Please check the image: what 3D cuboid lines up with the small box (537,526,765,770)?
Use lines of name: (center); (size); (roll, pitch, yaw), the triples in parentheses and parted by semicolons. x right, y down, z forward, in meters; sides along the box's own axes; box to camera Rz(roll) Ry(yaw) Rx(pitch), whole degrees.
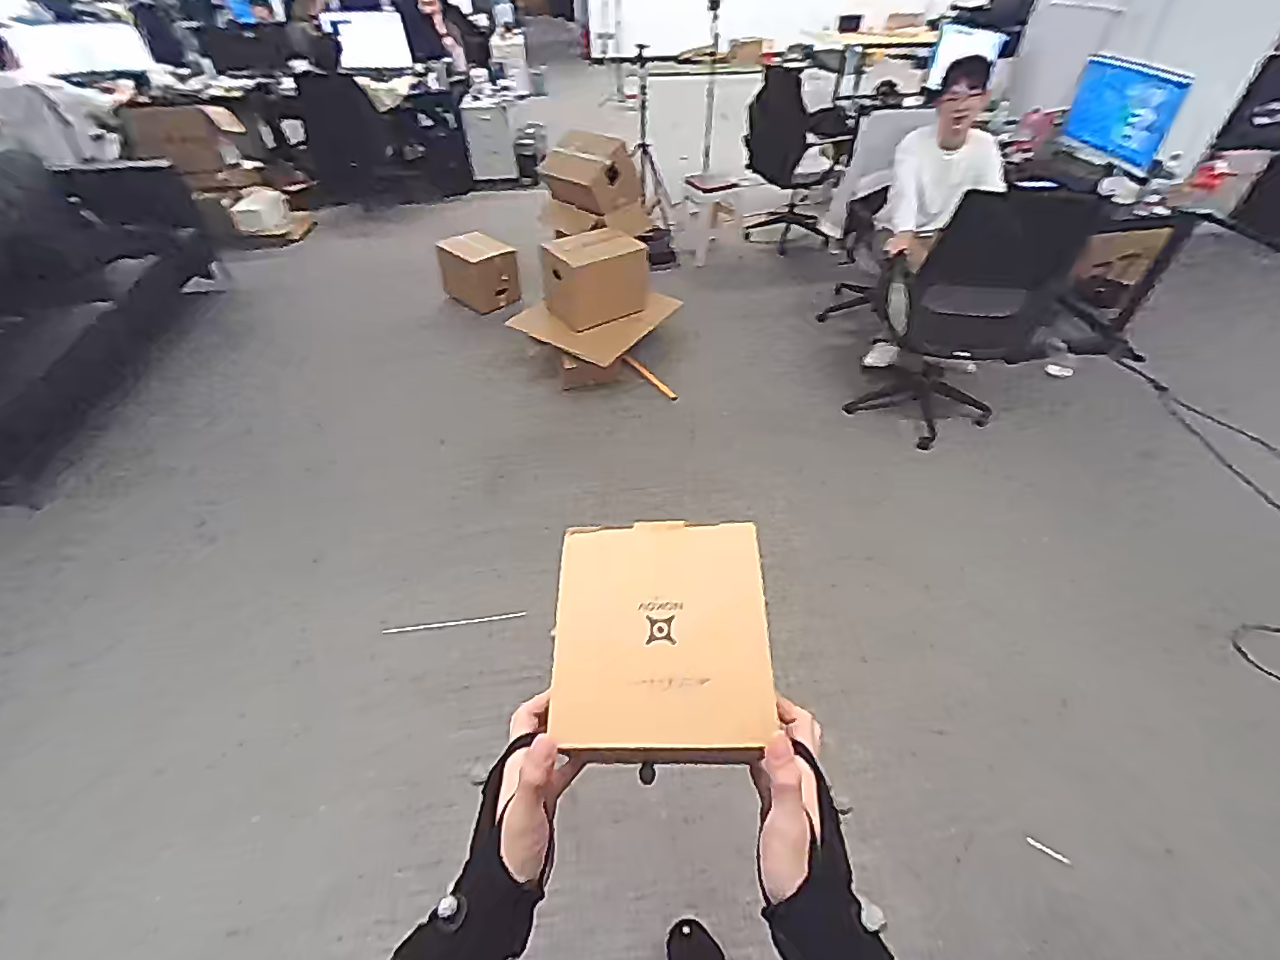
small box: (0.013, 0.158, 0.492); (0.168, 0.176, 0.179); (-3, 58, 4)
